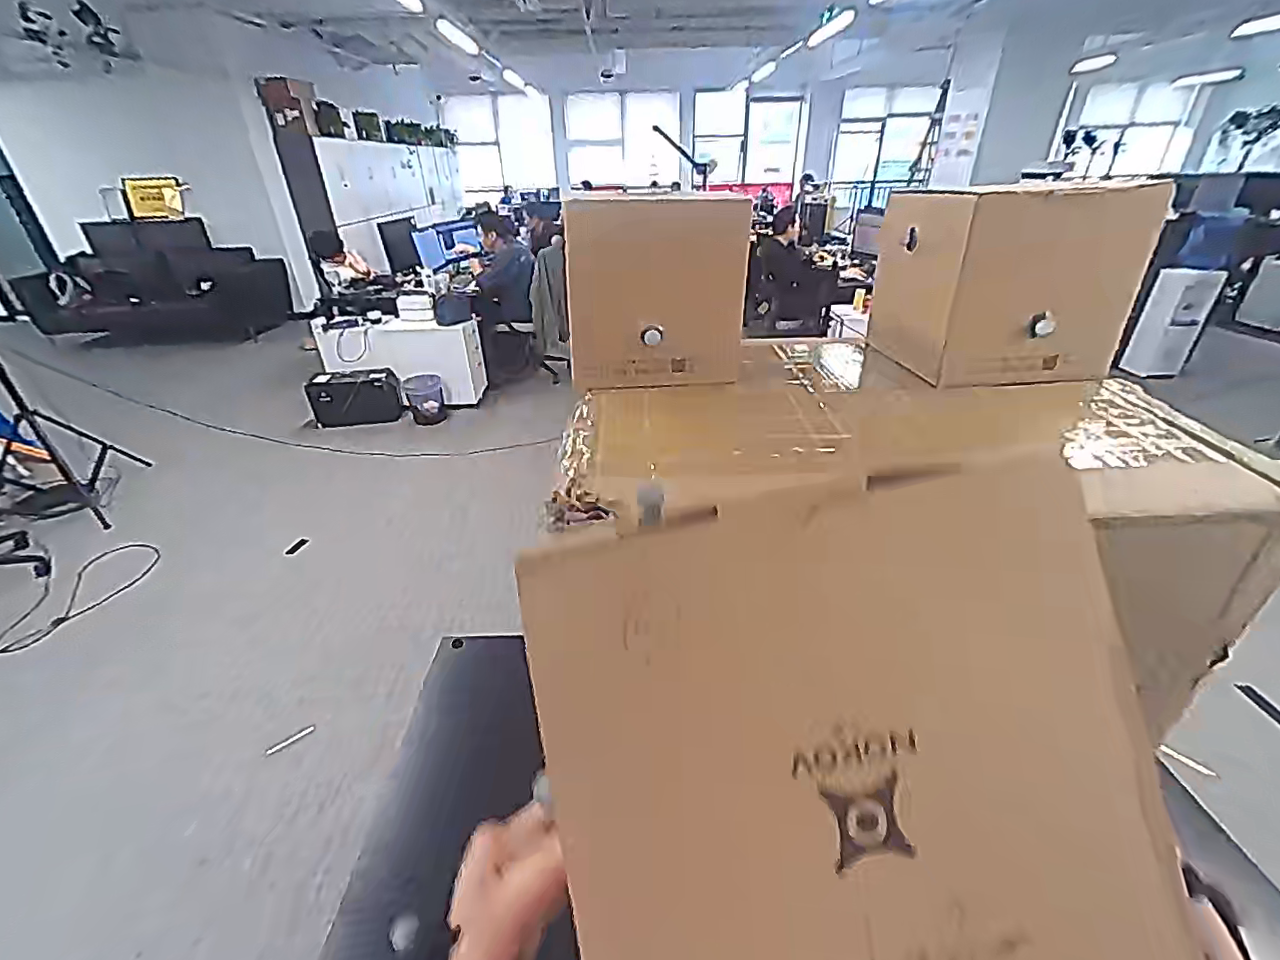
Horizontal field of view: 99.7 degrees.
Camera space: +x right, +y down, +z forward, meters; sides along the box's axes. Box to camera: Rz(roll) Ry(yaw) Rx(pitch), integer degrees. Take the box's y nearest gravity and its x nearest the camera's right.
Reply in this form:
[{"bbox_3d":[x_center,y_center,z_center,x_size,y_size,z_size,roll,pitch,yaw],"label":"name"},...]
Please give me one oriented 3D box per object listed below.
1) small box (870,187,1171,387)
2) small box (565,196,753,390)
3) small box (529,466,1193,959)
[{"bbox_3d":[0.357,-0.201,0.554,0.168,0.176,0.179,-3,28,0],"label":"small box"},{"bbox_3d":[0.007,-0.201,0.570,0.168,0.176,0.179,-3,29,-6],"label":"small box"},{"bbox_3d":[0.060,0.102,0.231,0.168,0.179,0.176,-12,-4,-2],"label":"small box"}]
